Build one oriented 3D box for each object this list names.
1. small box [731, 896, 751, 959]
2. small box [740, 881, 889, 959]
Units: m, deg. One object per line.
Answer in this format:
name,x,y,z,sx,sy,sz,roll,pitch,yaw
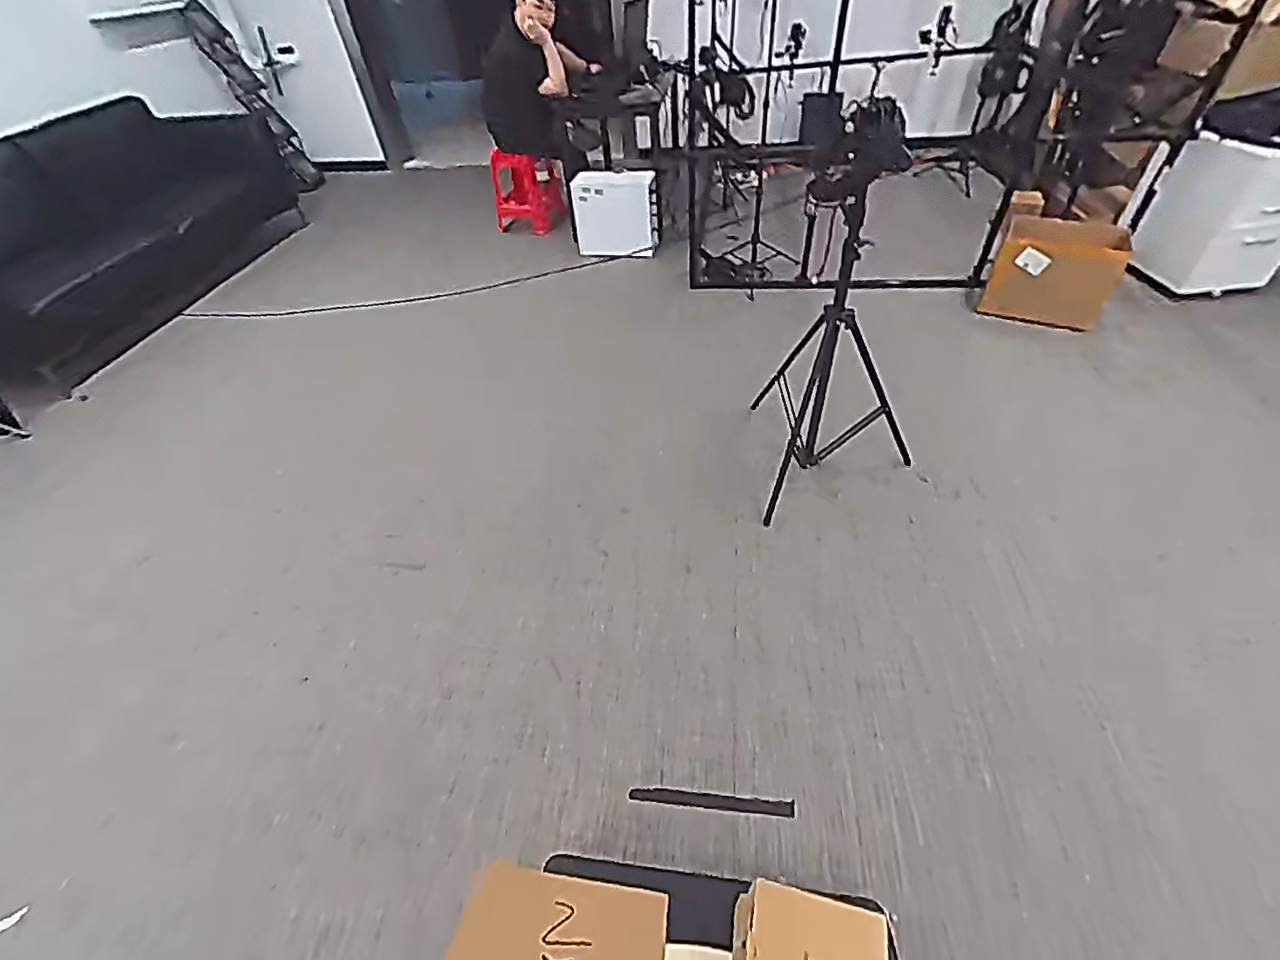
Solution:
small box,0.229,0.795,0.855,0.168,0.176,0.179,6,46,11
small box,0.229,0.682,0.738,0.179,0.176,0.168,7,47,14
